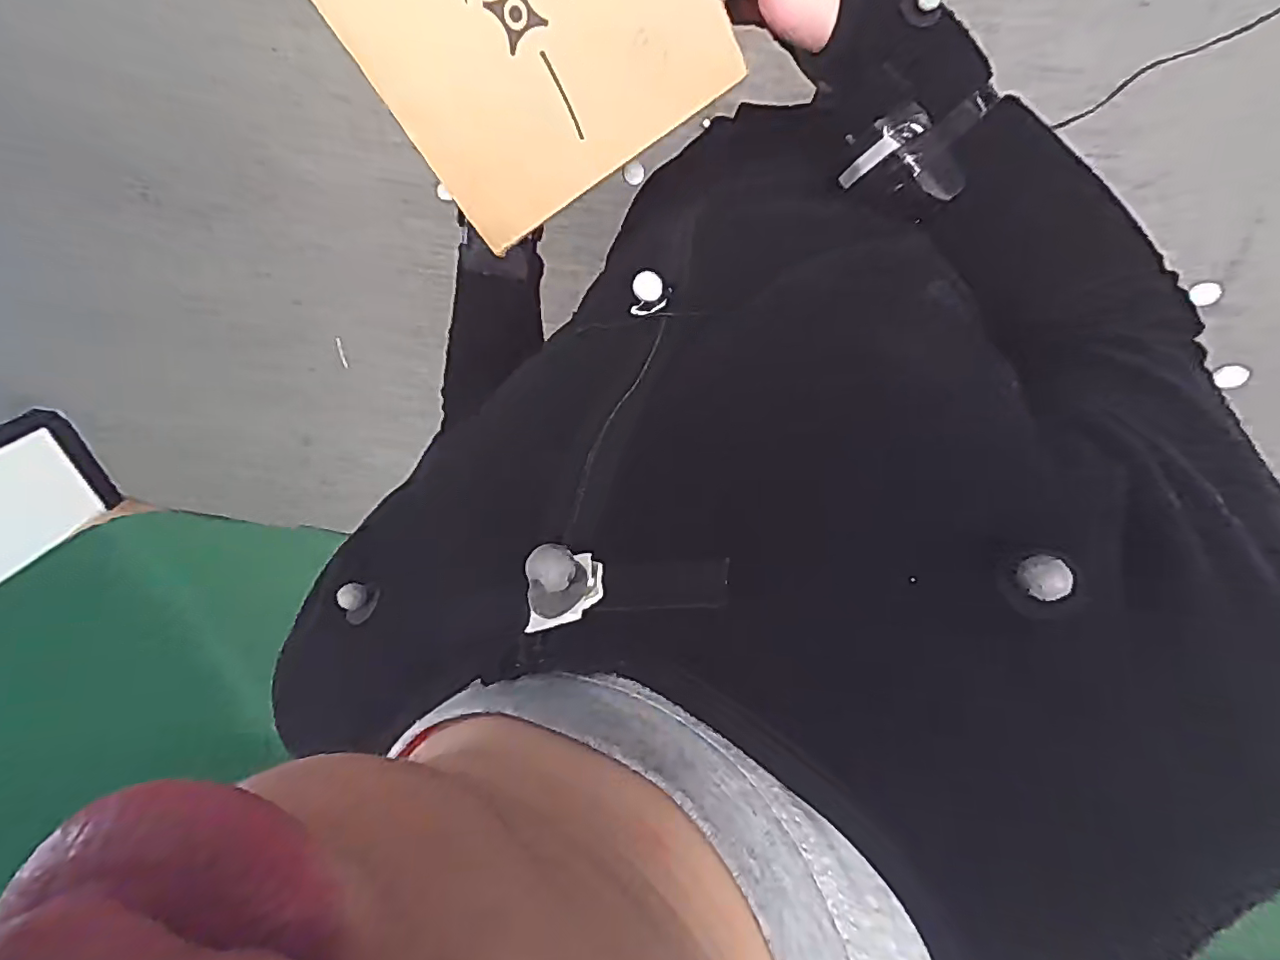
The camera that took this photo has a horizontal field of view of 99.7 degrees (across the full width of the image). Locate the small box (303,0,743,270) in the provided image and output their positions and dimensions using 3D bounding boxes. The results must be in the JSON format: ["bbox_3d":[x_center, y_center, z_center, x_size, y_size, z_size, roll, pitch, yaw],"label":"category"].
[{"bbox_3d":[-0.053,-0.261,0.321,0.168,0.176,0.179,-23,119,22],"label":"small box"}]
